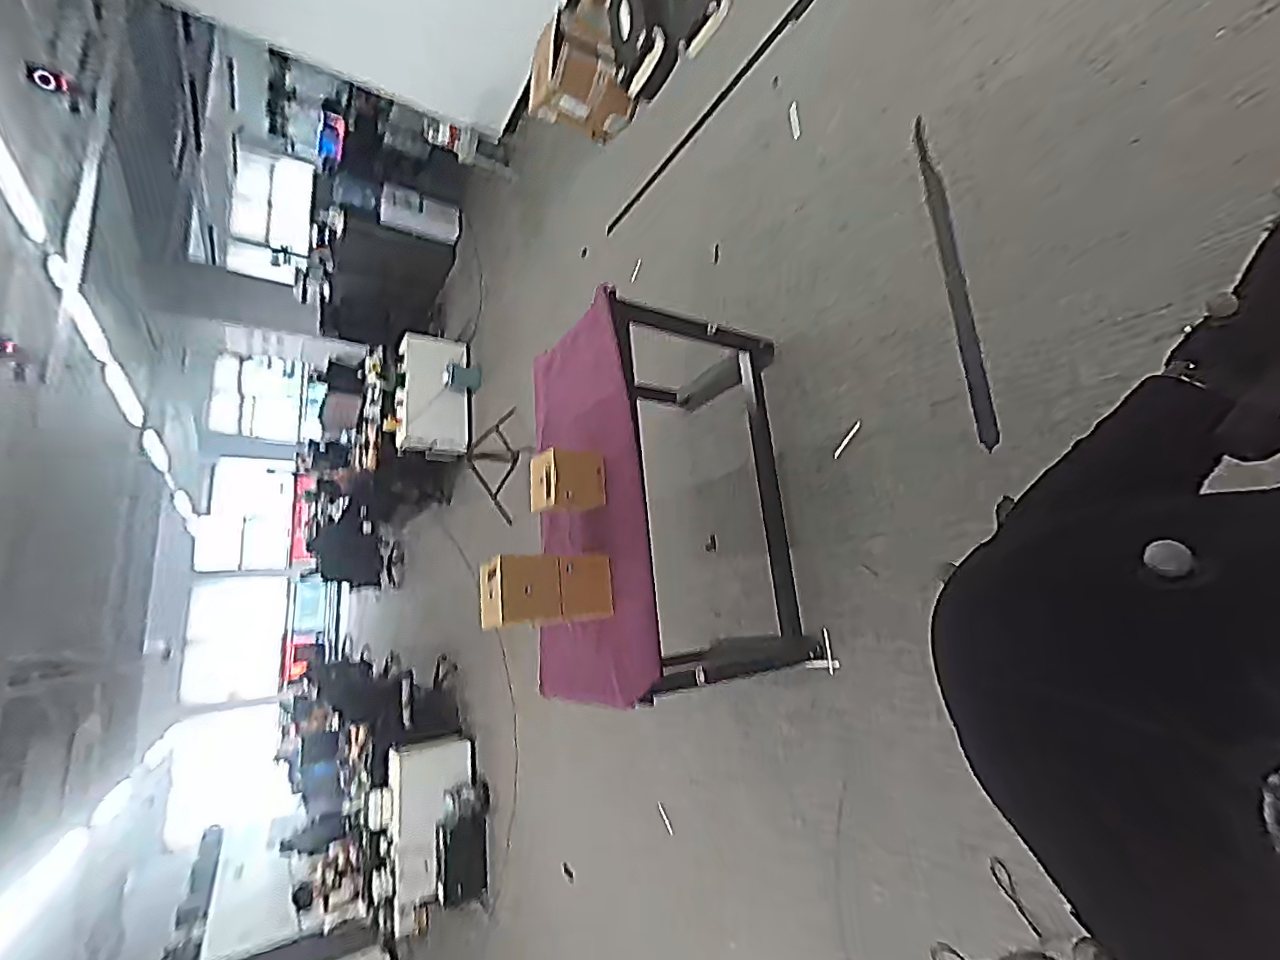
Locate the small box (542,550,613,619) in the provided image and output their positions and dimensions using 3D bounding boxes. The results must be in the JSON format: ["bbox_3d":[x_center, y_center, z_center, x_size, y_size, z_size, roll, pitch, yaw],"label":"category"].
[{"bbox_3d":[-0.188,0.302,1.574,0.168,0.176,0.179,-27,64,52],"label":"small box"}]

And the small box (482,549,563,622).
[{"bbox_3d":[-0.322,0.289,1.479,0.168,0.176,0.179,-28,64,52],"label":"small box"}]
